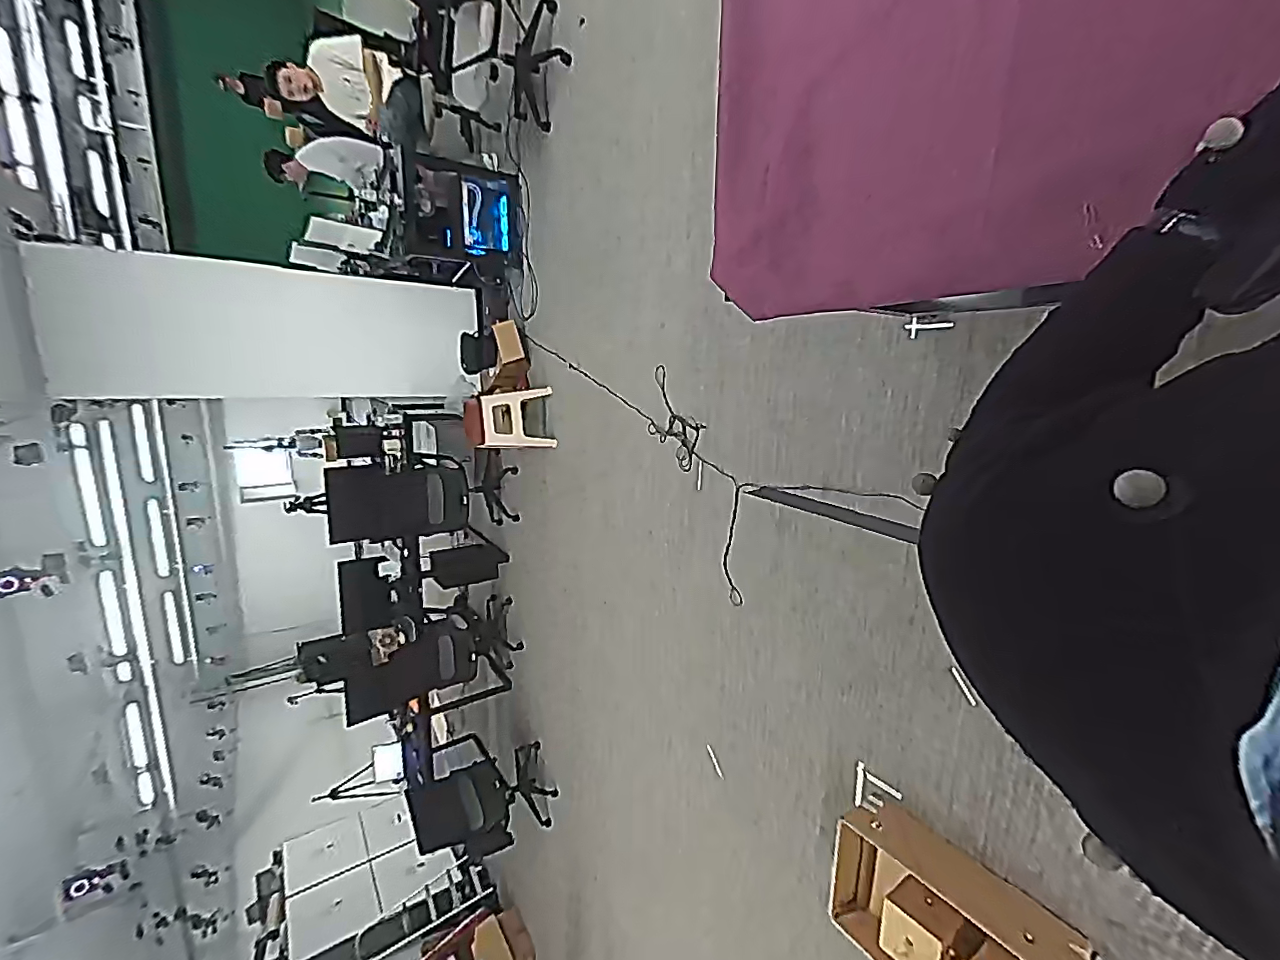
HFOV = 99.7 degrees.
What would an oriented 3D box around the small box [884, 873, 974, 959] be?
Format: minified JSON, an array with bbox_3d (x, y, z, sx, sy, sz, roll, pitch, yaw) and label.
[{"bbox_3d":[0.832,1.291,1.556,0.168,0.176,0.179,16,108,54],"label":"small box"}]
